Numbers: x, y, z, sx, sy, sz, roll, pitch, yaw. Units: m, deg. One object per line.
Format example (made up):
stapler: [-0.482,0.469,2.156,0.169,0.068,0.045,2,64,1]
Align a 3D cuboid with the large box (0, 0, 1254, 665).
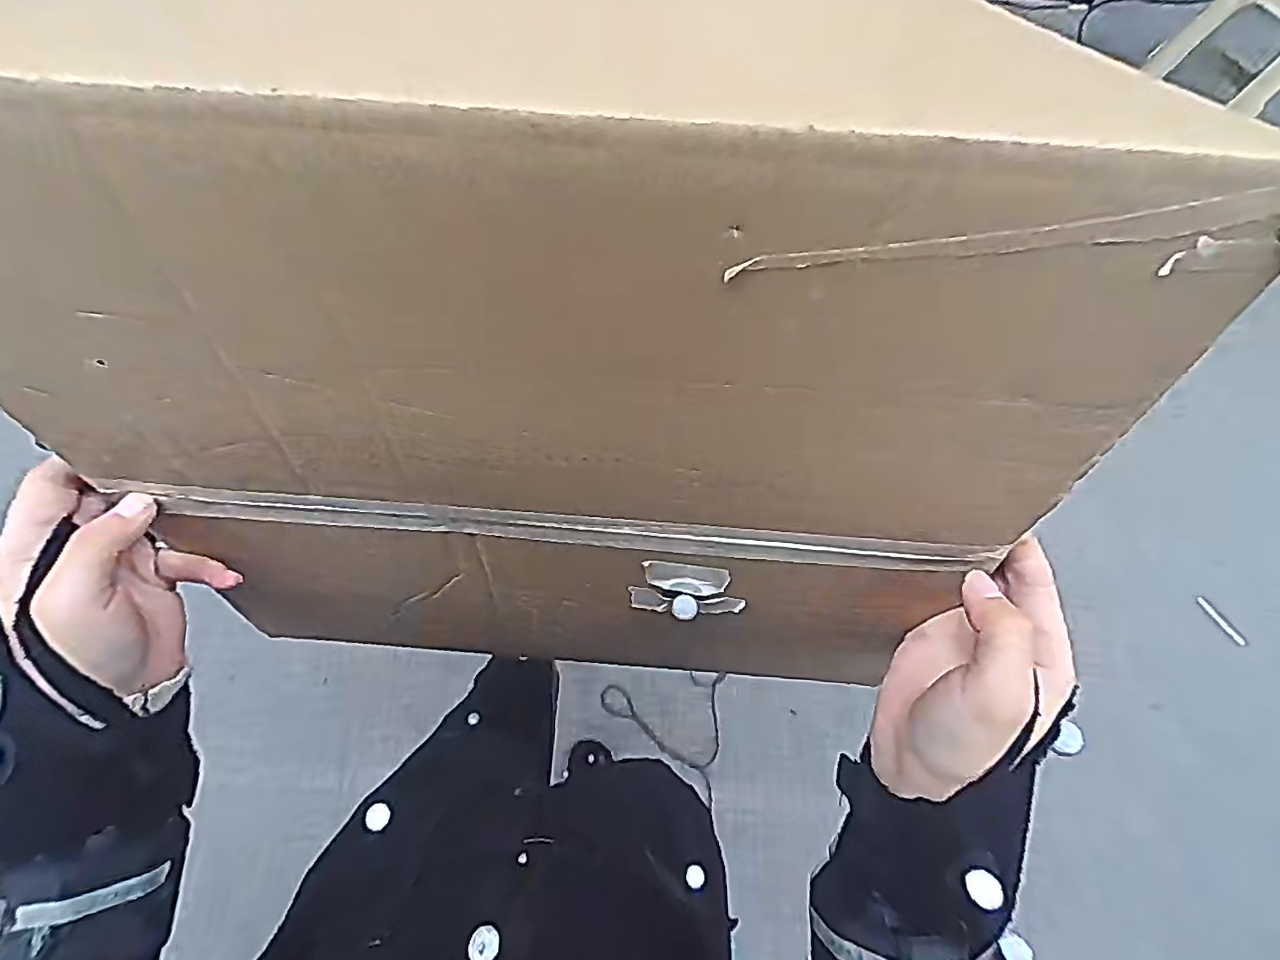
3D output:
large box: [-0.036,-0.099,0.352,0.408,0.320,0.320,4,50,1]
